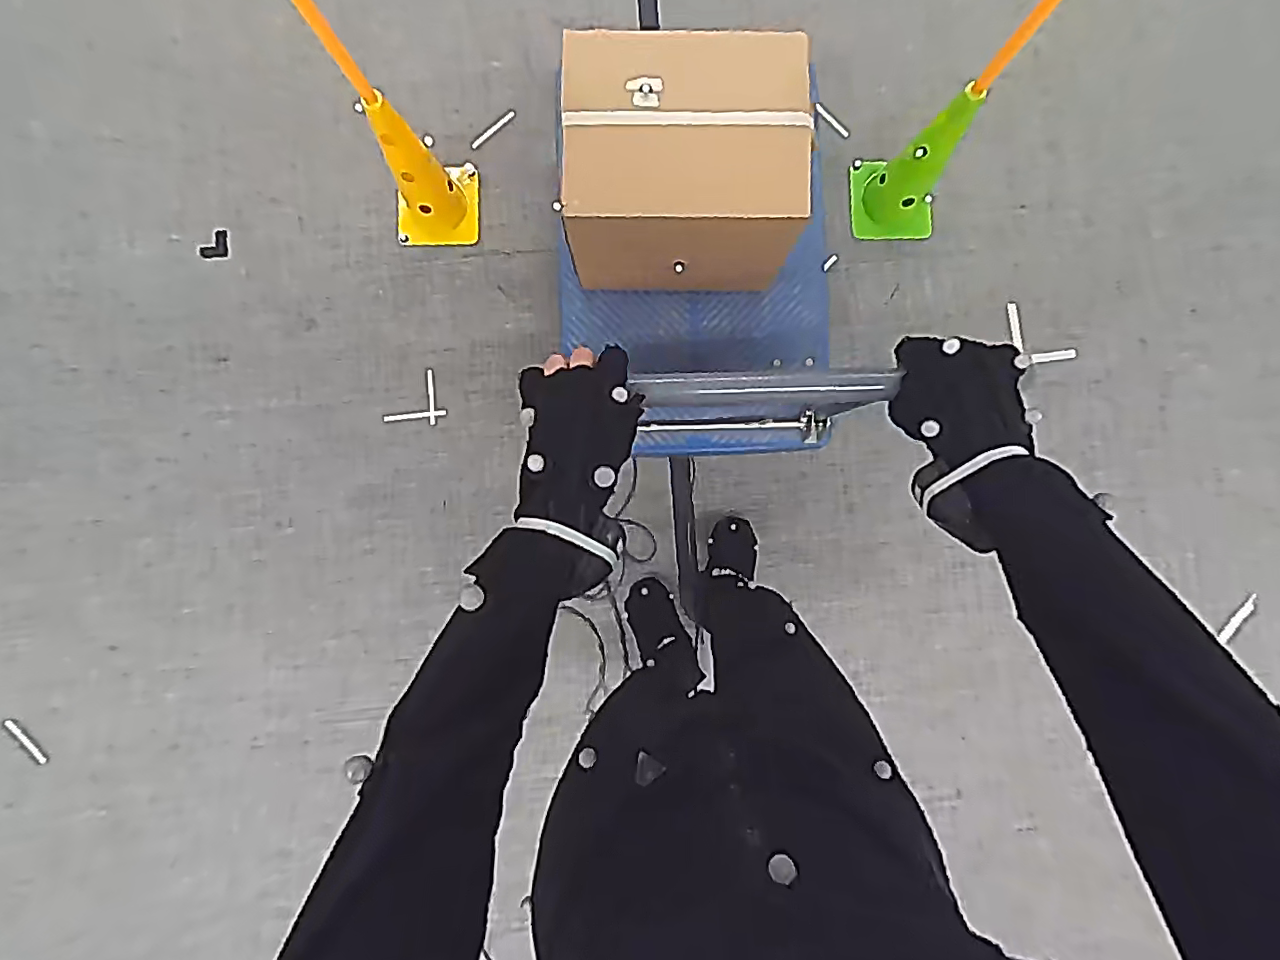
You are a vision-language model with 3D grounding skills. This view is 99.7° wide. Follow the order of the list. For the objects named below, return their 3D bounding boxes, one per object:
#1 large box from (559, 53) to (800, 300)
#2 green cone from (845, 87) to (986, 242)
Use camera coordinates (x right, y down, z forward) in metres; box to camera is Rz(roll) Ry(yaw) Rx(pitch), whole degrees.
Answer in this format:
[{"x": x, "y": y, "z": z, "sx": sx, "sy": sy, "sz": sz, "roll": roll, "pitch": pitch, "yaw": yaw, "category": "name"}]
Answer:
[{"x": 0.068, "y": -0.552, "z": 1.046, "sx": 0.408, "sy": 0.320, "sz": 0.320, "roll": 0, "pitch": 87, "yaw": 1, "category": "large box"}, {"x": 0.625, "y": -0.710, "z": 1.198, "sx": 0.202, "sy": 0.368, "sz": 0.200, "roll": -1, "pitch": 87, "yaw": -1, "category": "green cone"}]
